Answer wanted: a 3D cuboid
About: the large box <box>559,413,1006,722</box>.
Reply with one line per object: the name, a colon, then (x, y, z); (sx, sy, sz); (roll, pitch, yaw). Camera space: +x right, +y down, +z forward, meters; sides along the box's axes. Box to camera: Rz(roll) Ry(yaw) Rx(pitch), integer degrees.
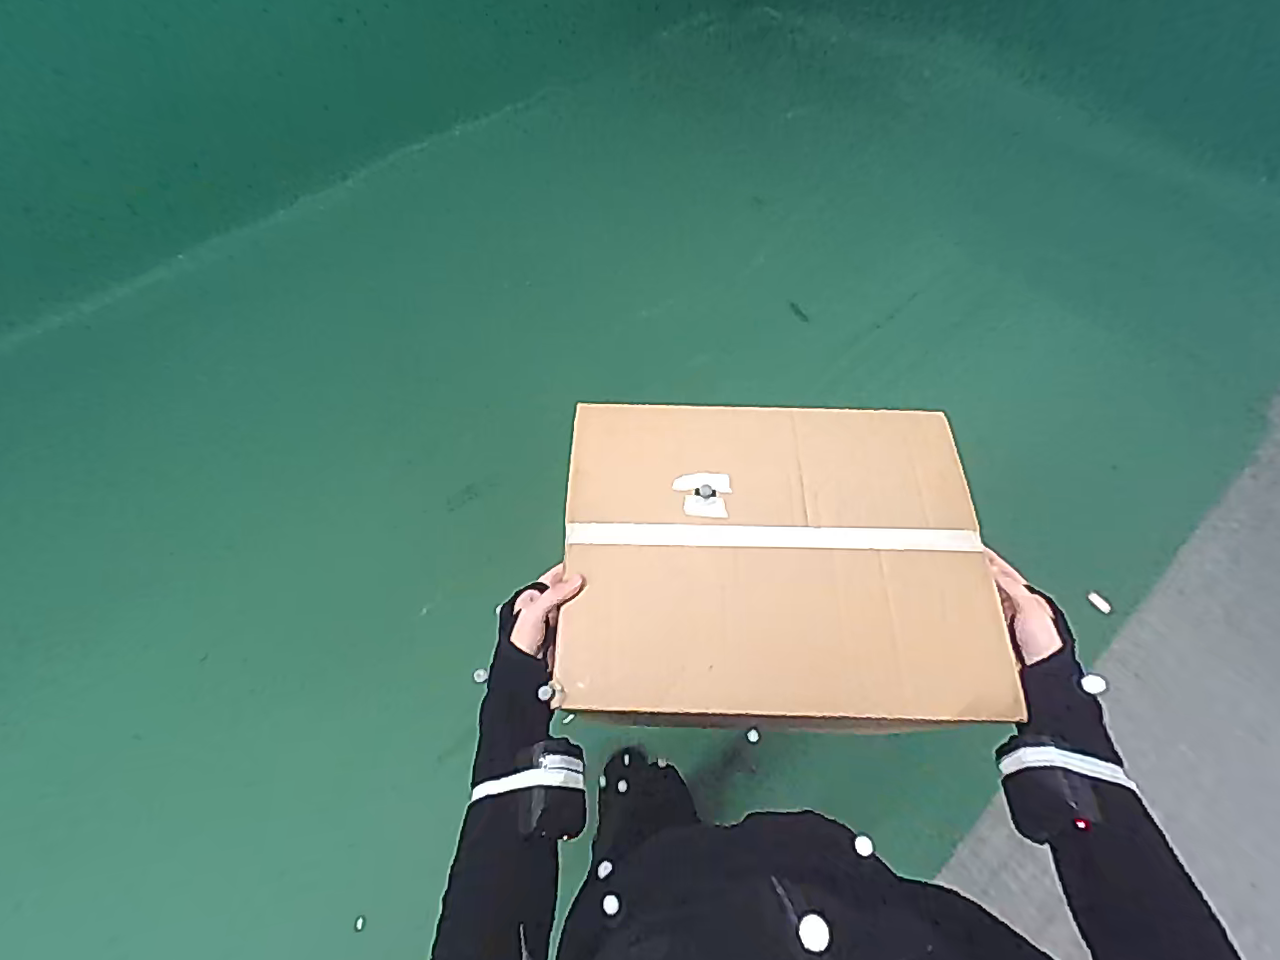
large box: (0.133, 0.129, 0.676); (0.408, 0.320, 0.320); (2, 63, 2)
